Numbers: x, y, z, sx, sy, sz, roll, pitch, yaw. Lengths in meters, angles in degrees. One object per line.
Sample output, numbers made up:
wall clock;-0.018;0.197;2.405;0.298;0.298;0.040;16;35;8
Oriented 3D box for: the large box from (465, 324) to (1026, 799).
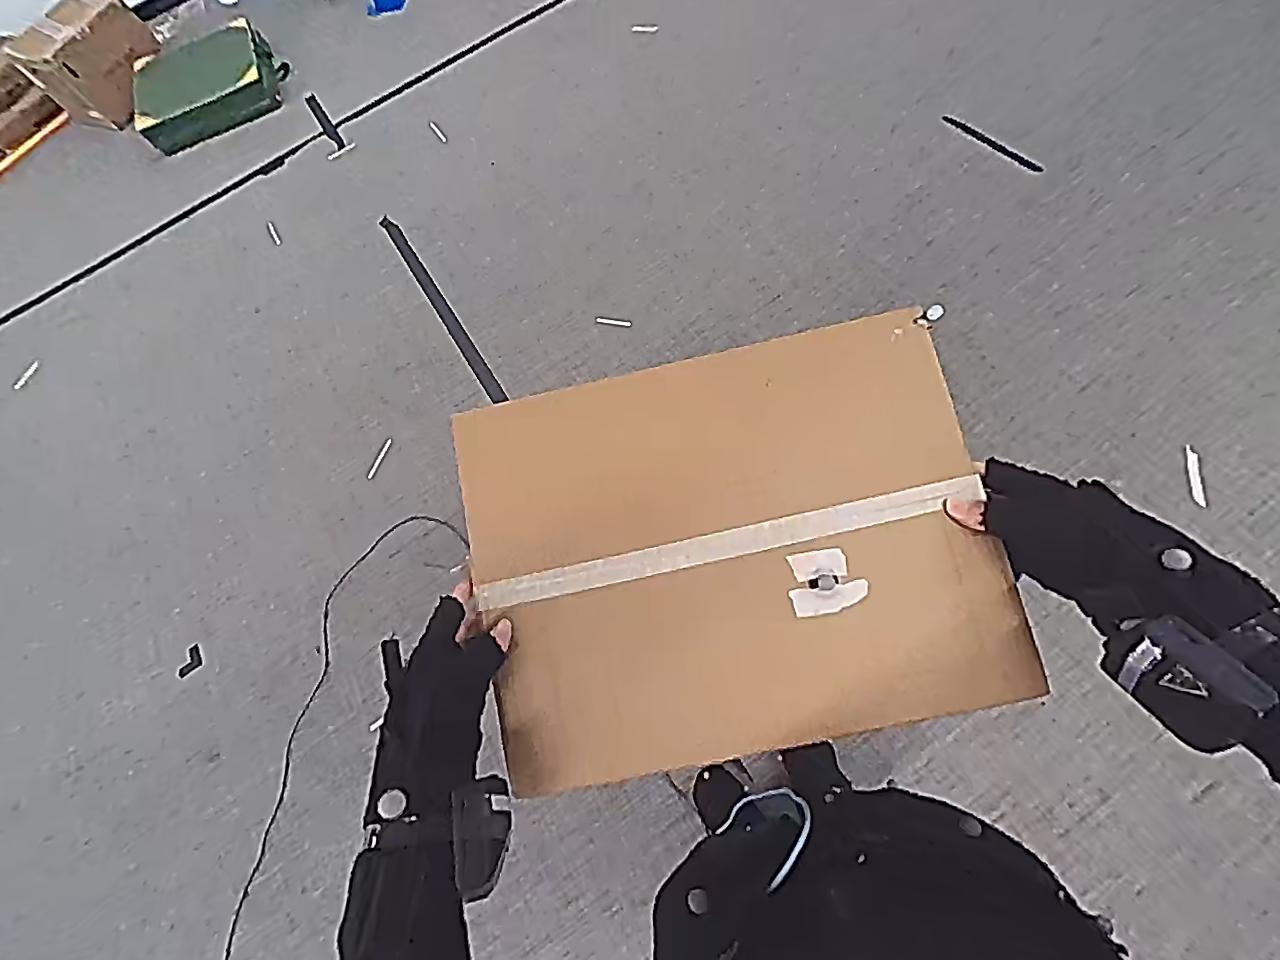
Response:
large box;0.079;0.083;0.589;0.408;0.320;0.320;-13;81;2
